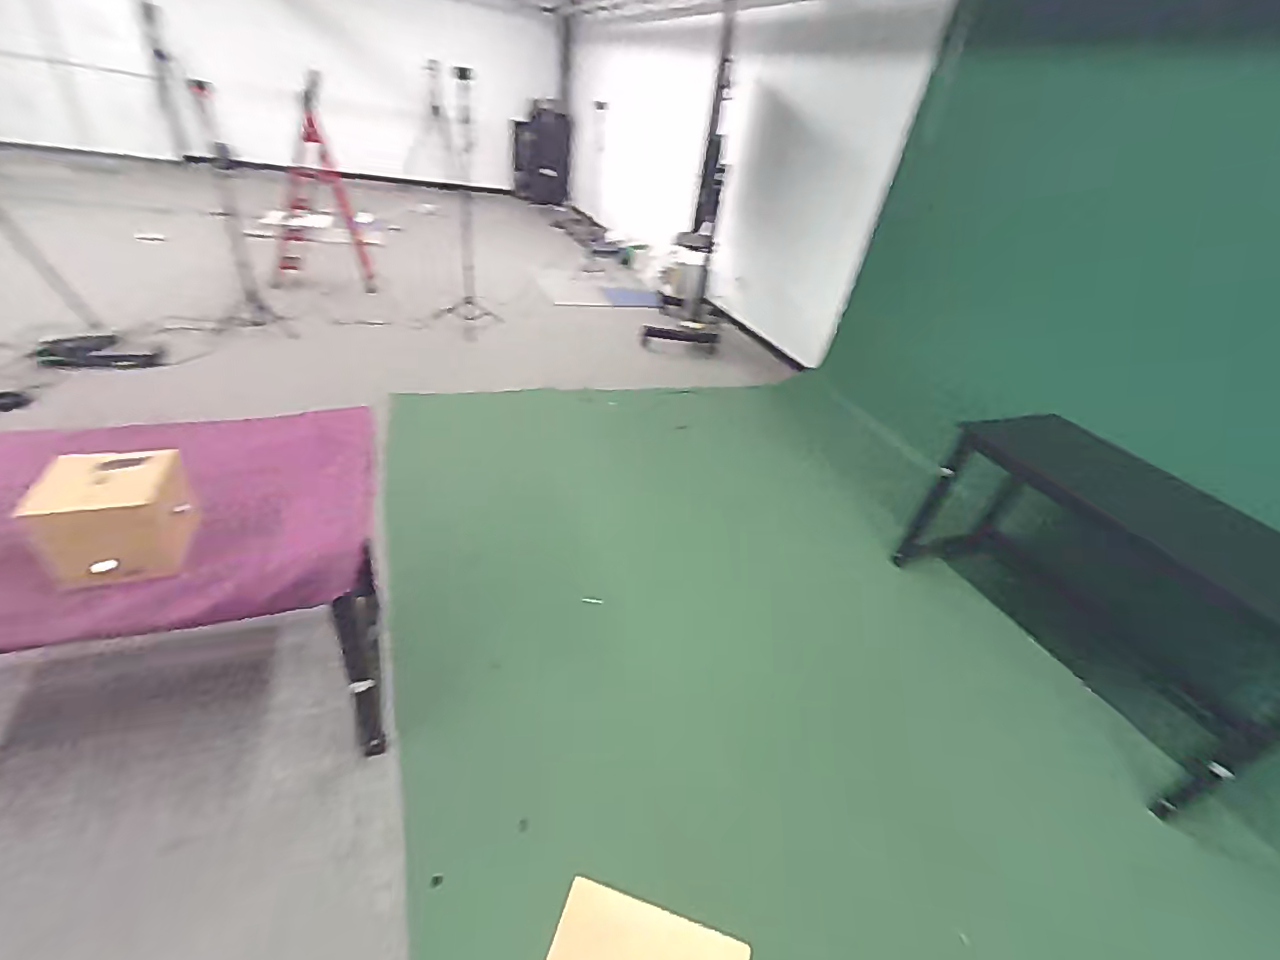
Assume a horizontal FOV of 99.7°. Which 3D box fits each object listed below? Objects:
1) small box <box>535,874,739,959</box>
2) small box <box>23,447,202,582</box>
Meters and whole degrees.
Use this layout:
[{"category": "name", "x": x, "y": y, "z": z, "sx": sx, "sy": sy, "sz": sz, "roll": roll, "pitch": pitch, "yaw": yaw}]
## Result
[{"category": "small box", "x": -0.024, "y": 0.488, "z": 0.456, "sx": 0.168, "sy": 0.176, "sz": 0.179, "roll": 13, "pitch": 37, "yaw": 10}, {"category": "small box", "x": -0.928, "y": 0.058, "z": 0.977, "sx": 0.168, "sy": 0.176, "sz": 0.179, "roll": -6, "pitch": 37, "yaw": -22}]
